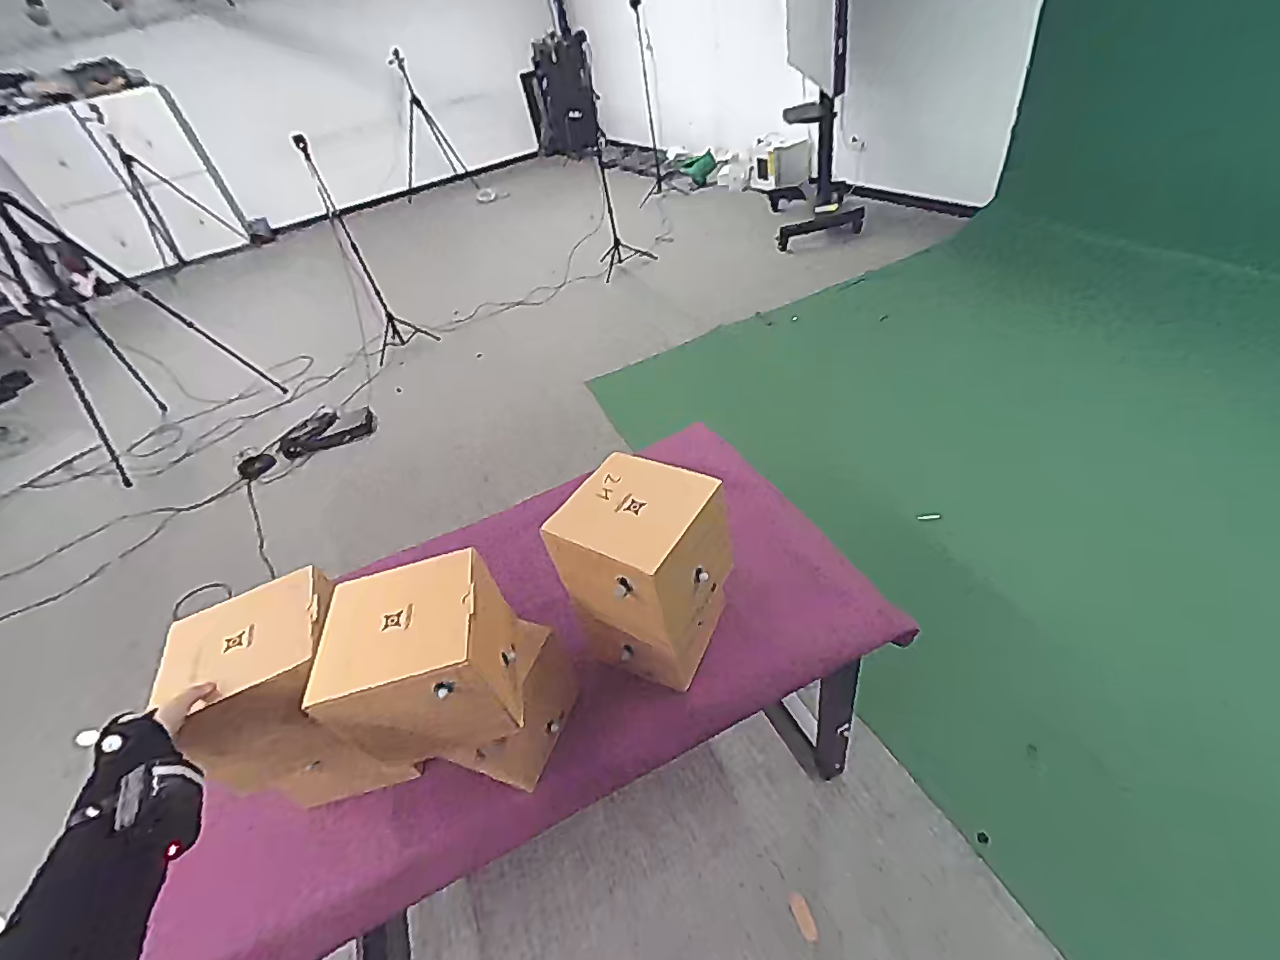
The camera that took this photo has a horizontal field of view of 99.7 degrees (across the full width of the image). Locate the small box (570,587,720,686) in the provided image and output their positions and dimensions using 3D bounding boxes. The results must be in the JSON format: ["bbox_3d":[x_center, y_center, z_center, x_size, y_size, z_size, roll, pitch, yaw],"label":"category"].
[{"bbox_3d":[0.020,0.195,0.859,0.168,0.176,0.179,11,46,27],"label":"small box"}]

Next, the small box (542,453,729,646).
[{"bbox_3d":[0.006,0.093,0.724,0.179,0.176,0.168,16,48,32],"label":"small box"}]

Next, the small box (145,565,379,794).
[{"bbox_3d":[-0.448,0.246,0.676,0.179,0.176,0.168,-26,42,-15],"label":"small box"}]

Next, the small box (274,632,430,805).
[{"bbox_3d":[-0.437,0.355,0.804,0.179,0.176,0.168,-8,39,-3],"label":"small box"}]
